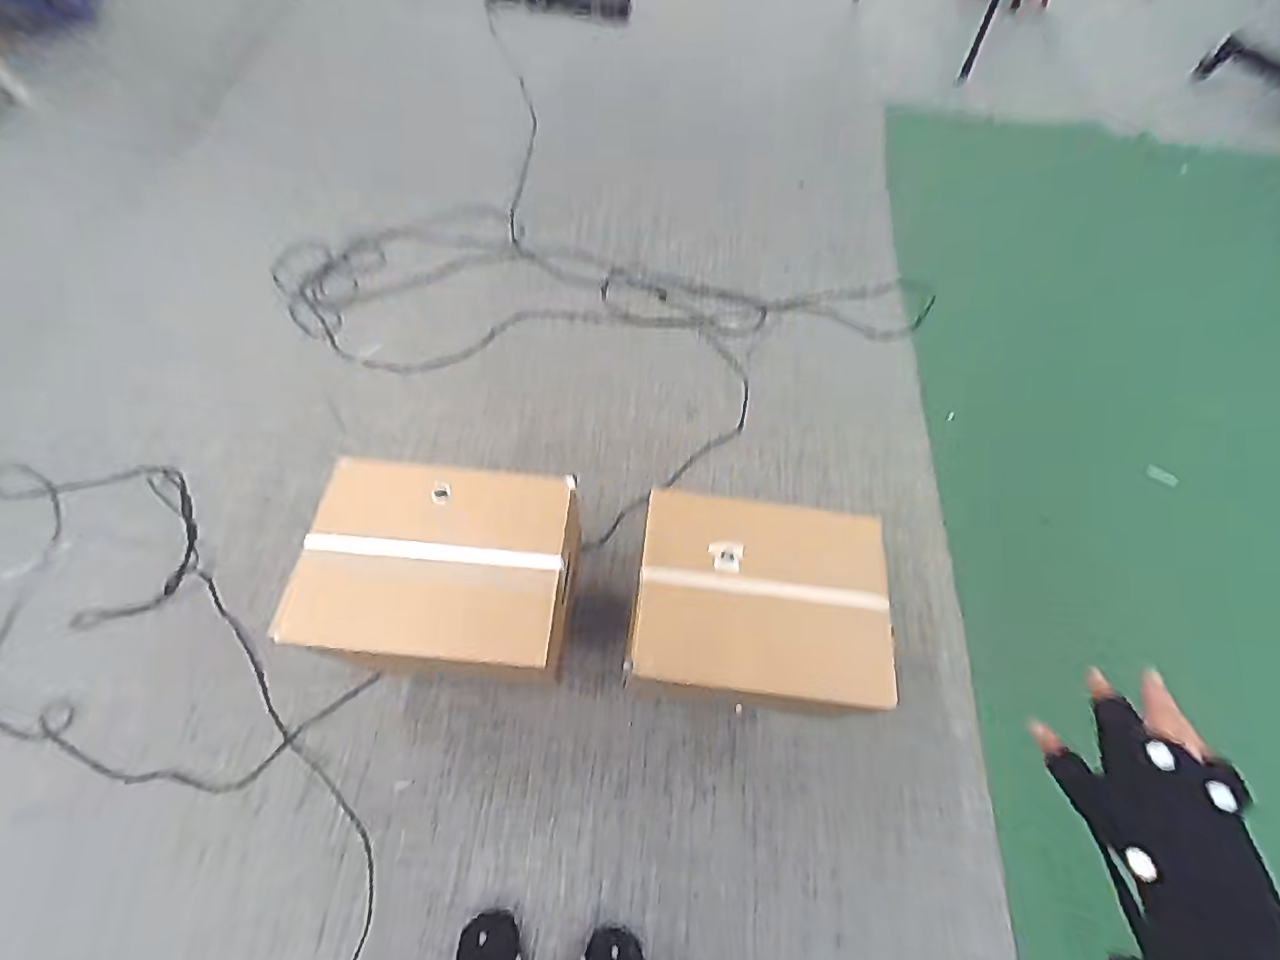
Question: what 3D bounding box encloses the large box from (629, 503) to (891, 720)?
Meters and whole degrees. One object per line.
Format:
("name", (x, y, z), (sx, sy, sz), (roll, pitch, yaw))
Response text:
("large box", (0.199, 0.263, 1.024), (0.408, 0.320, 0.320), (8, 63, 1))
